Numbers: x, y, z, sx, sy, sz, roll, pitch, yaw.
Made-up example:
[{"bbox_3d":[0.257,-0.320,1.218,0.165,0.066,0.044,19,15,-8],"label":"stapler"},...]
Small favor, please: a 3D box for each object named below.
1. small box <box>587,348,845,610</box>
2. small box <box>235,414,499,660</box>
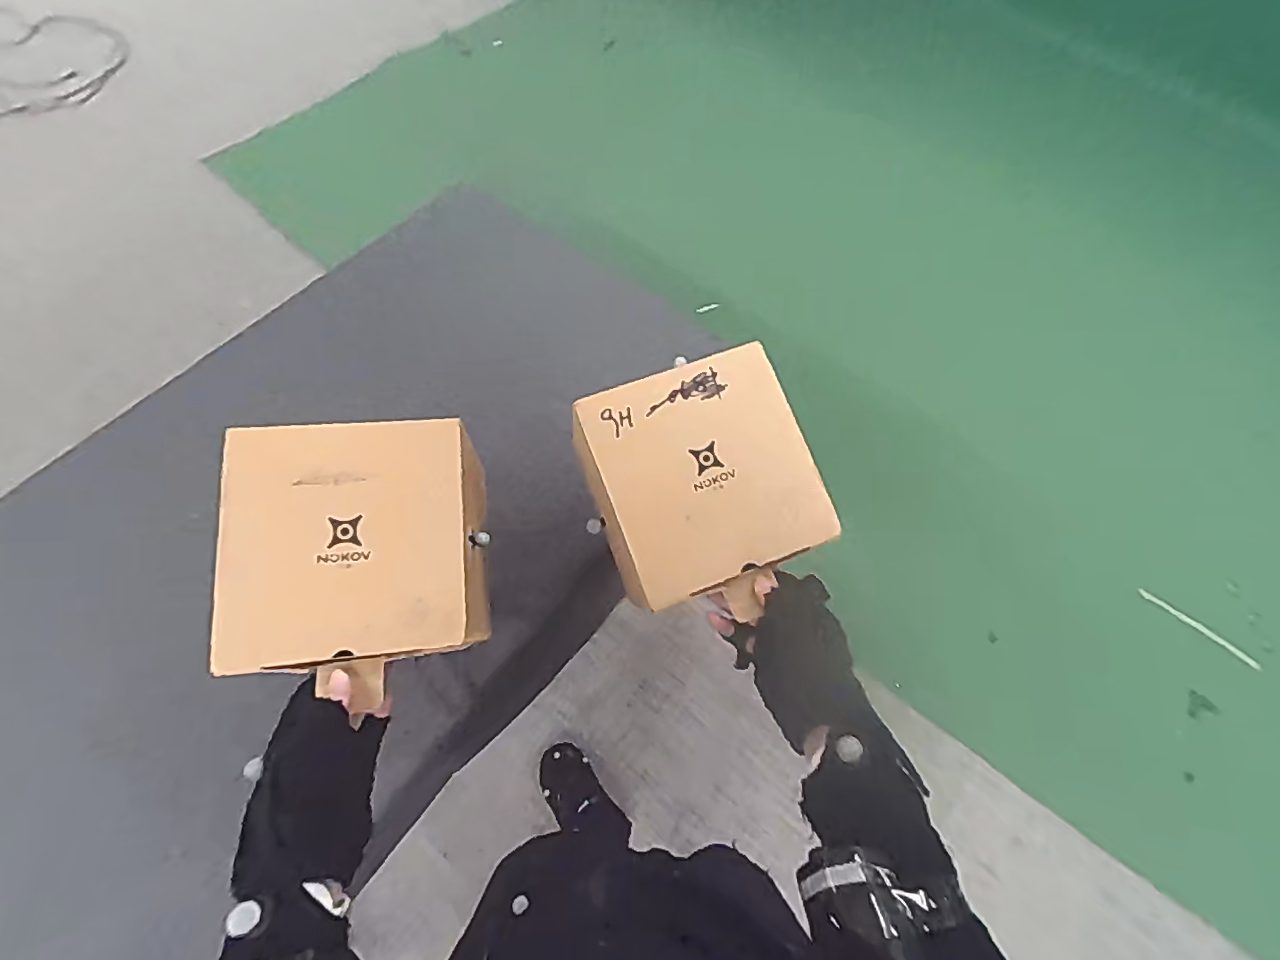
[{"bbox_3d":[0.054,0.004,0.508,0.168,0.176,0.179,-18,85,-10],"label":"small box"},{"bbox_3d":[-0.215,0.052,0.475,0.168,0.176,0.179,-3,77,-11],"label":"small box"}]
